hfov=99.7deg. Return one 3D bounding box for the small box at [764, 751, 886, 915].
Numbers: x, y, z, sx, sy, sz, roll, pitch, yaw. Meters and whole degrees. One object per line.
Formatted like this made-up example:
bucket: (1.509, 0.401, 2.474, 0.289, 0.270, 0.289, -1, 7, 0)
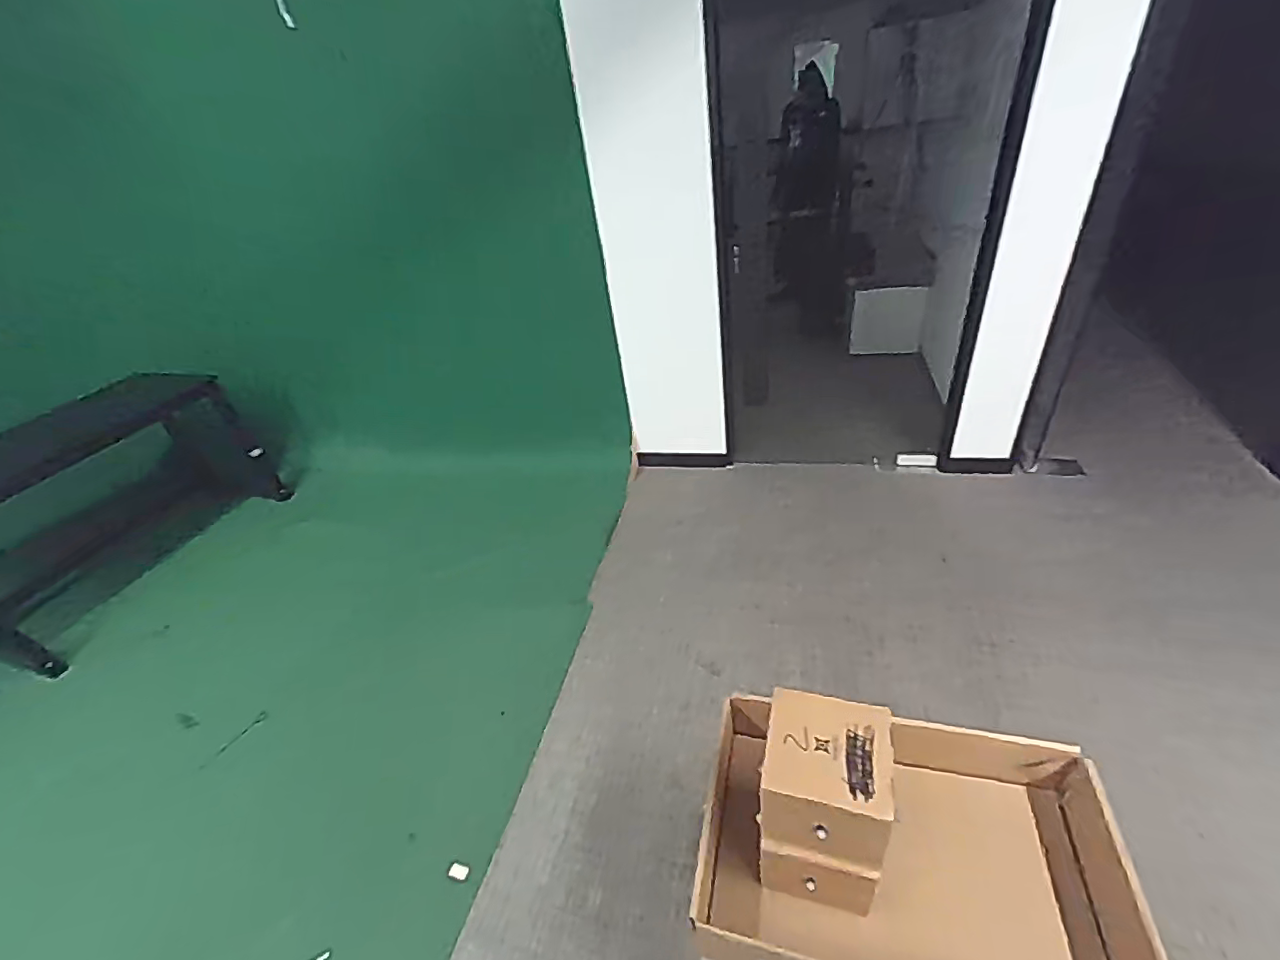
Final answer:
small box: (0.307, 0.595, 0.913, 0.179, 0.176, 0.168, 3, 37, 19)
